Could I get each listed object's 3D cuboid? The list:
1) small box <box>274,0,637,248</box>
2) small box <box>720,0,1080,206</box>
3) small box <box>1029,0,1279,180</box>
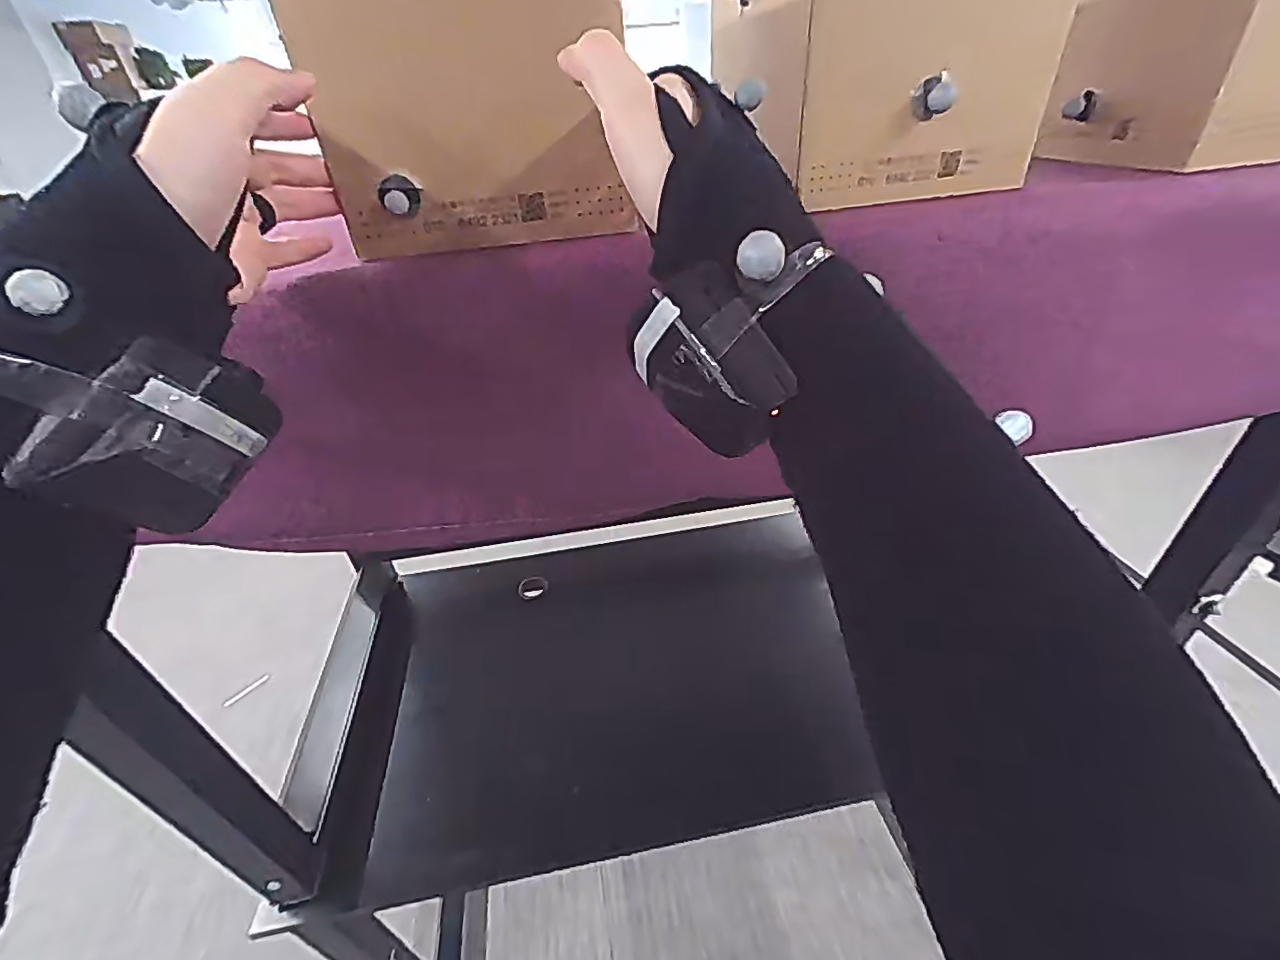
[{"bbox_3d":[-0.099,-0.249,0.337,0.168,0.176,0.179,-9,34,-6],"label":"small box"},{"bbox_3d":[0.157,-0.294,0.373,0.168,0.176,0.179,-10,35,-7],"label":"small box"},{"bbox_3d":[0.436,-0.327,0.391,0.179,0.176,0.168,-8,34,-4],"label":"small box"}]
